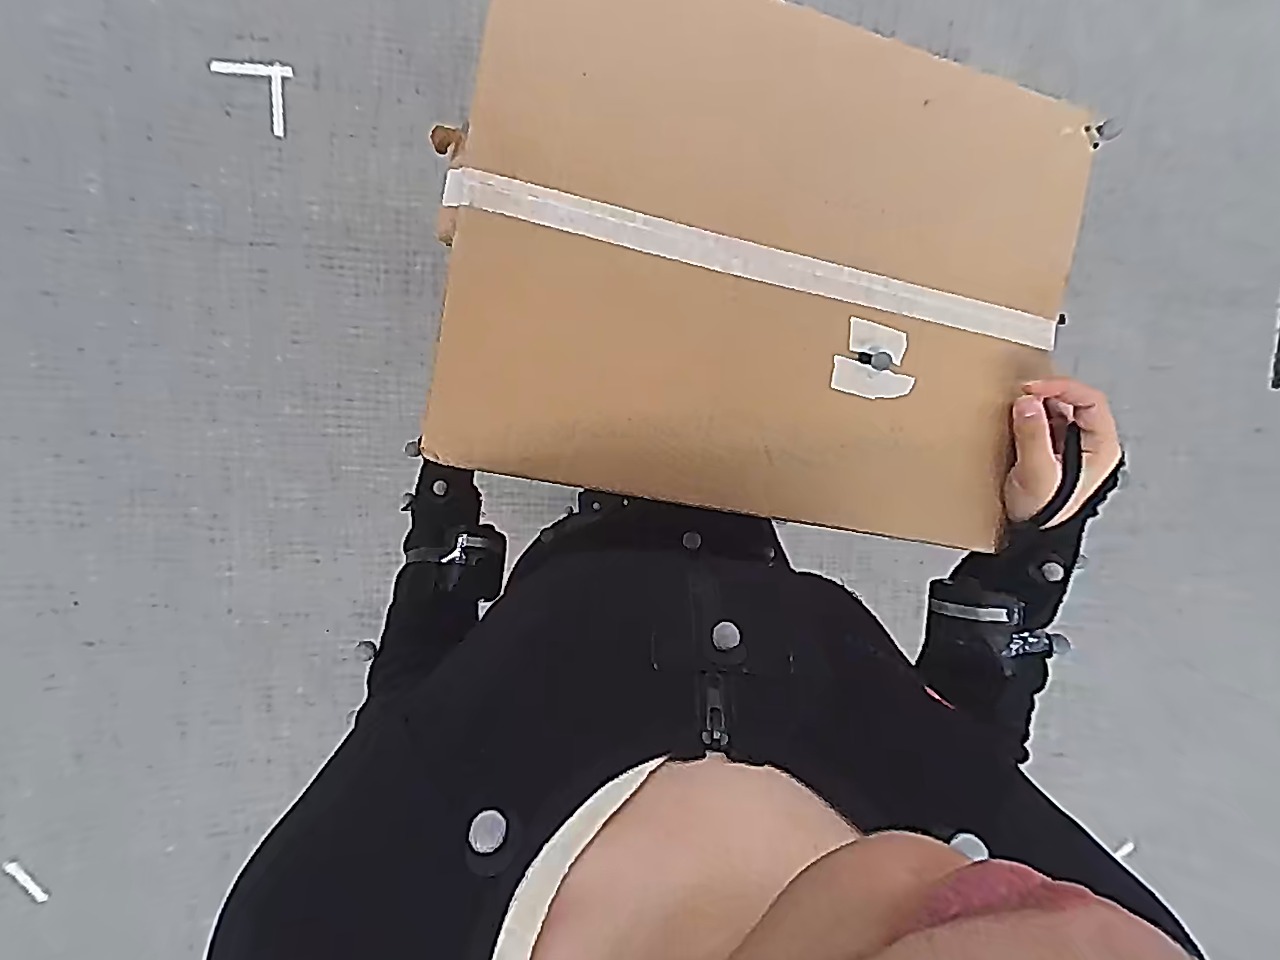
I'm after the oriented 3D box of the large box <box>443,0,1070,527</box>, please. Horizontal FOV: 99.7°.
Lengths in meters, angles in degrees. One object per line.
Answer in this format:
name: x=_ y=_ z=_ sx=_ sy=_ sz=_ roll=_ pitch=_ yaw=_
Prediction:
large box: x=0.065 y=-0.154 z=0.498 sx=0.408 sy=0.320 sz=0.320 roll=9 pitch=93 yaw=-13
